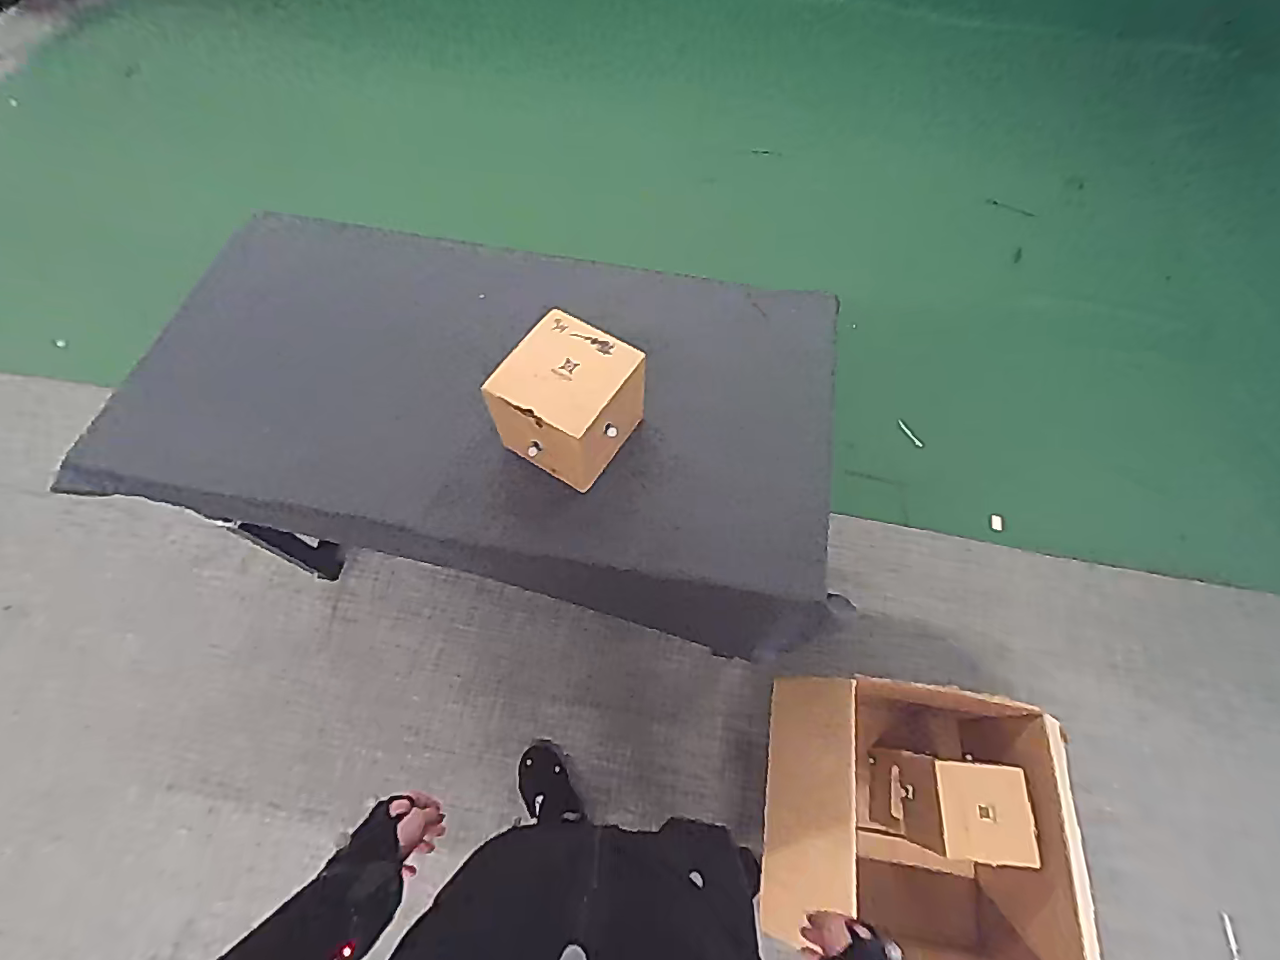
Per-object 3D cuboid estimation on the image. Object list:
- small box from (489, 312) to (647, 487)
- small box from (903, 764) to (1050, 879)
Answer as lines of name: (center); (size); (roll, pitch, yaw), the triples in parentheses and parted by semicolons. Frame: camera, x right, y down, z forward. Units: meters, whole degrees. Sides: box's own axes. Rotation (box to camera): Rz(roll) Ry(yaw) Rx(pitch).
small box: (-0.100, -0.117, 0.841); (0.168, 0.176, 0.179); (30, 67, 13)
small box: (0.652, 0.663, 1.070); (0.179, 0.176, 0.168); (4, 65, 2)
